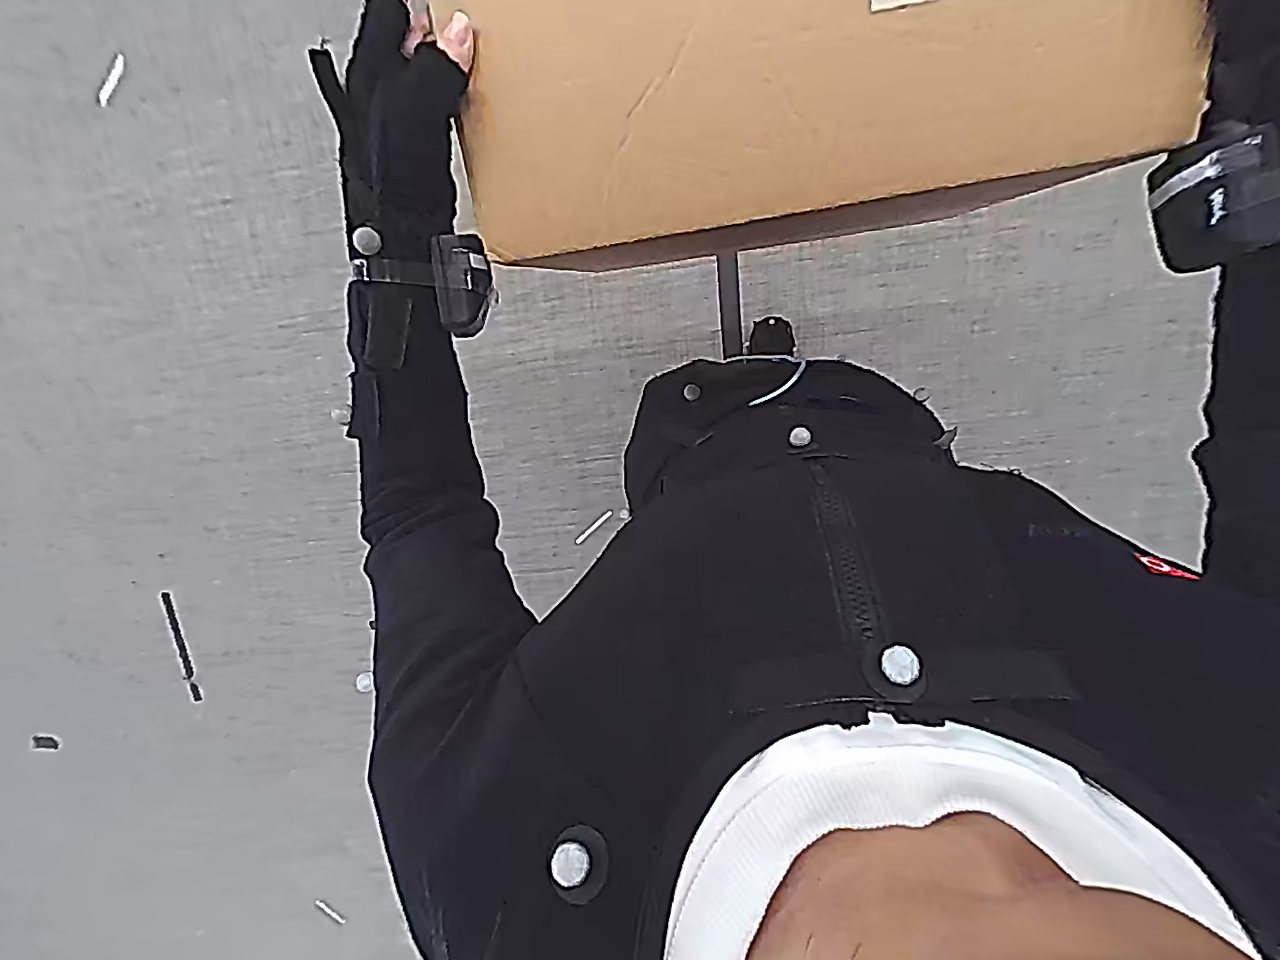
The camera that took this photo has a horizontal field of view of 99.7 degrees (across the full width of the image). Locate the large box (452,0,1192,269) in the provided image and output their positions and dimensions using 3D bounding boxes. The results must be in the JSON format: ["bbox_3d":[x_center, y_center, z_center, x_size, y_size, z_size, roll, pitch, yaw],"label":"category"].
[{"bbox_3d":[0.097,-0.368,0.426,0.408,0.320,0.320,-6,109,10],"label":"large box"}]
